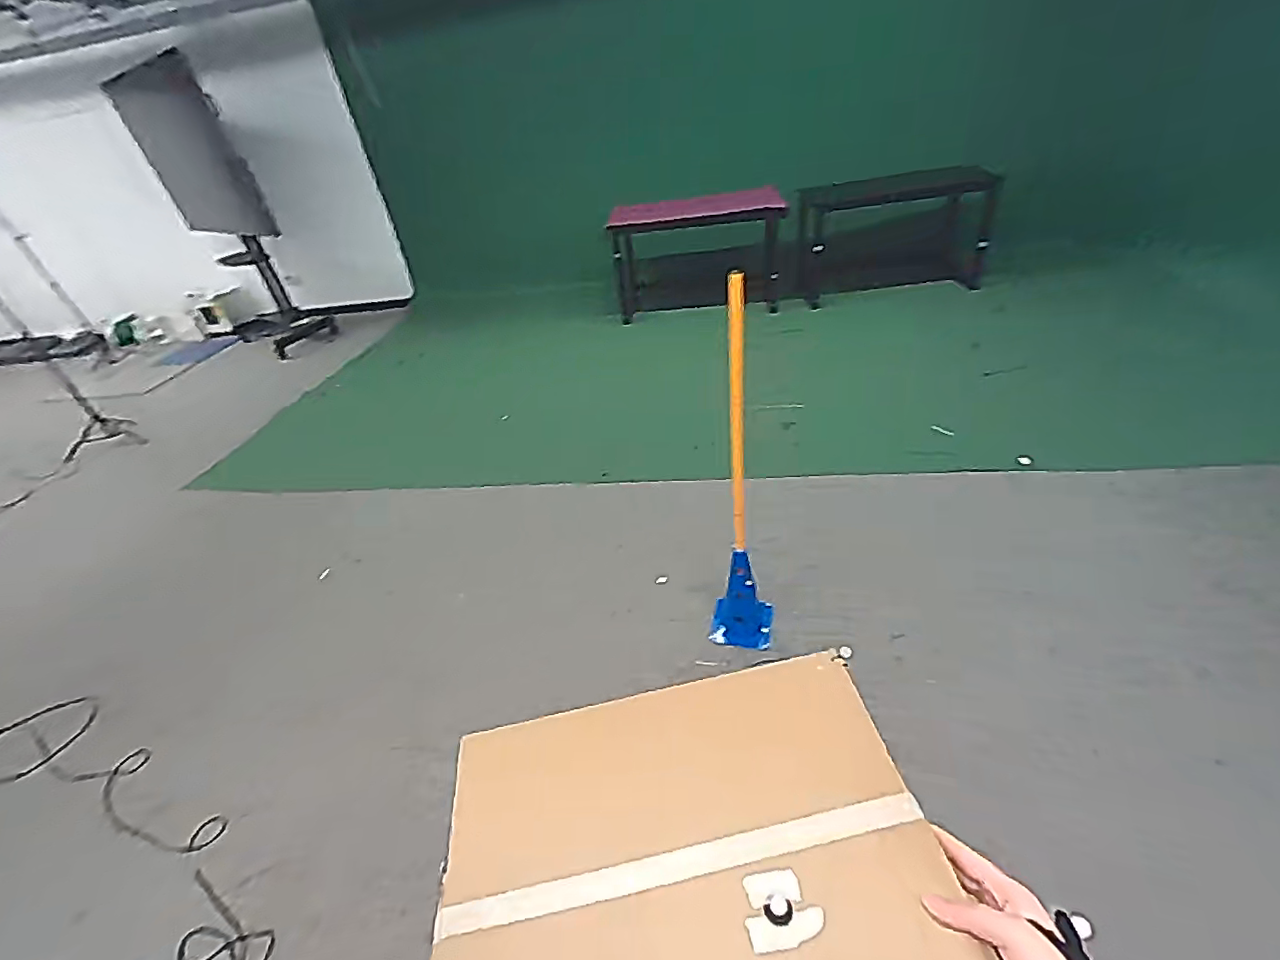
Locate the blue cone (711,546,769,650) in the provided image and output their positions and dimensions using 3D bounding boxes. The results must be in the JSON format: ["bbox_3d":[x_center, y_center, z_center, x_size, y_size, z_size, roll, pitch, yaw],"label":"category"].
[{"bbox_3d":[0.329,0.375,1.787,0.193,0.380,0.192,4,37,17],"label":"blue cone"}]

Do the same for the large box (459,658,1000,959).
[{"bbox_3d":[0.066,0.439,0.545,0.408,0.320,0.320,-12,39,-2],"label":"large box"}]
